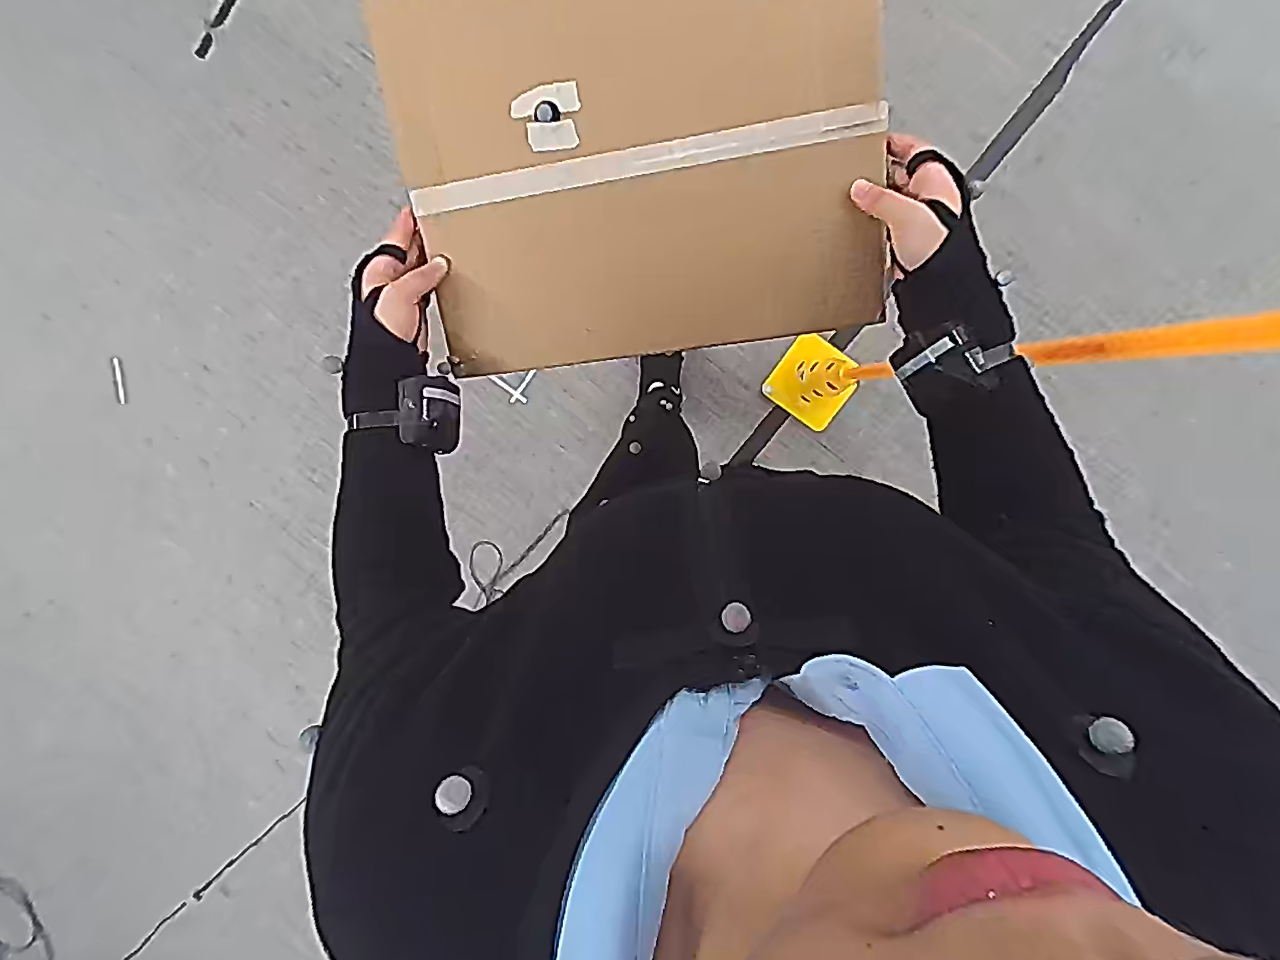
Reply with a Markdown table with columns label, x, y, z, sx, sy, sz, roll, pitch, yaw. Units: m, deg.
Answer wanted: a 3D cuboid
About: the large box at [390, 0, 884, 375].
| label | x | y | z | sx | sy | sz | roll | pitch | yaw |
| --- | --- | --- | --- | --- | --- | --- | --- | --- | --- |
| large box | 0.019 | -0.319 | 0.614 | 0.408 | 0.320 | 0.320 | -6 | 105 | 9 |
